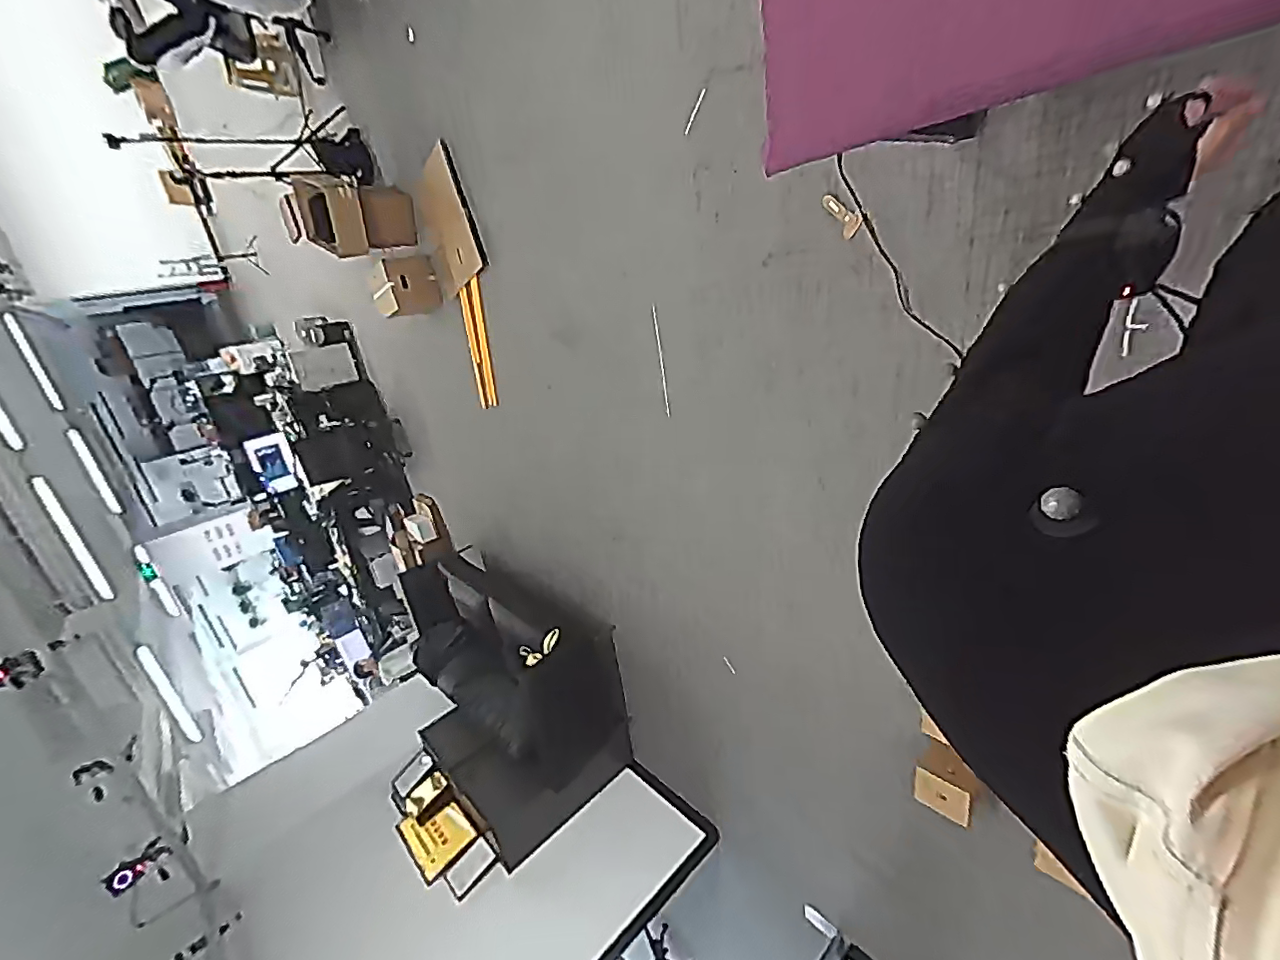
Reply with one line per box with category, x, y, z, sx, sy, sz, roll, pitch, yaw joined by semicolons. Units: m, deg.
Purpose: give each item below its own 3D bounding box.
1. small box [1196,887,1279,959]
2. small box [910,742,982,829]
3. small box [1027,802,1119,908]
small box;1.578;1.209;1.385;0.179;0.176;0.168;19;124;43
small box;1.081;1.067;1.908;0.179;0.176;0.168;16;122;46
small box;1.322;1.130;1.652;0.179;0.176;0.168;16;123;45
